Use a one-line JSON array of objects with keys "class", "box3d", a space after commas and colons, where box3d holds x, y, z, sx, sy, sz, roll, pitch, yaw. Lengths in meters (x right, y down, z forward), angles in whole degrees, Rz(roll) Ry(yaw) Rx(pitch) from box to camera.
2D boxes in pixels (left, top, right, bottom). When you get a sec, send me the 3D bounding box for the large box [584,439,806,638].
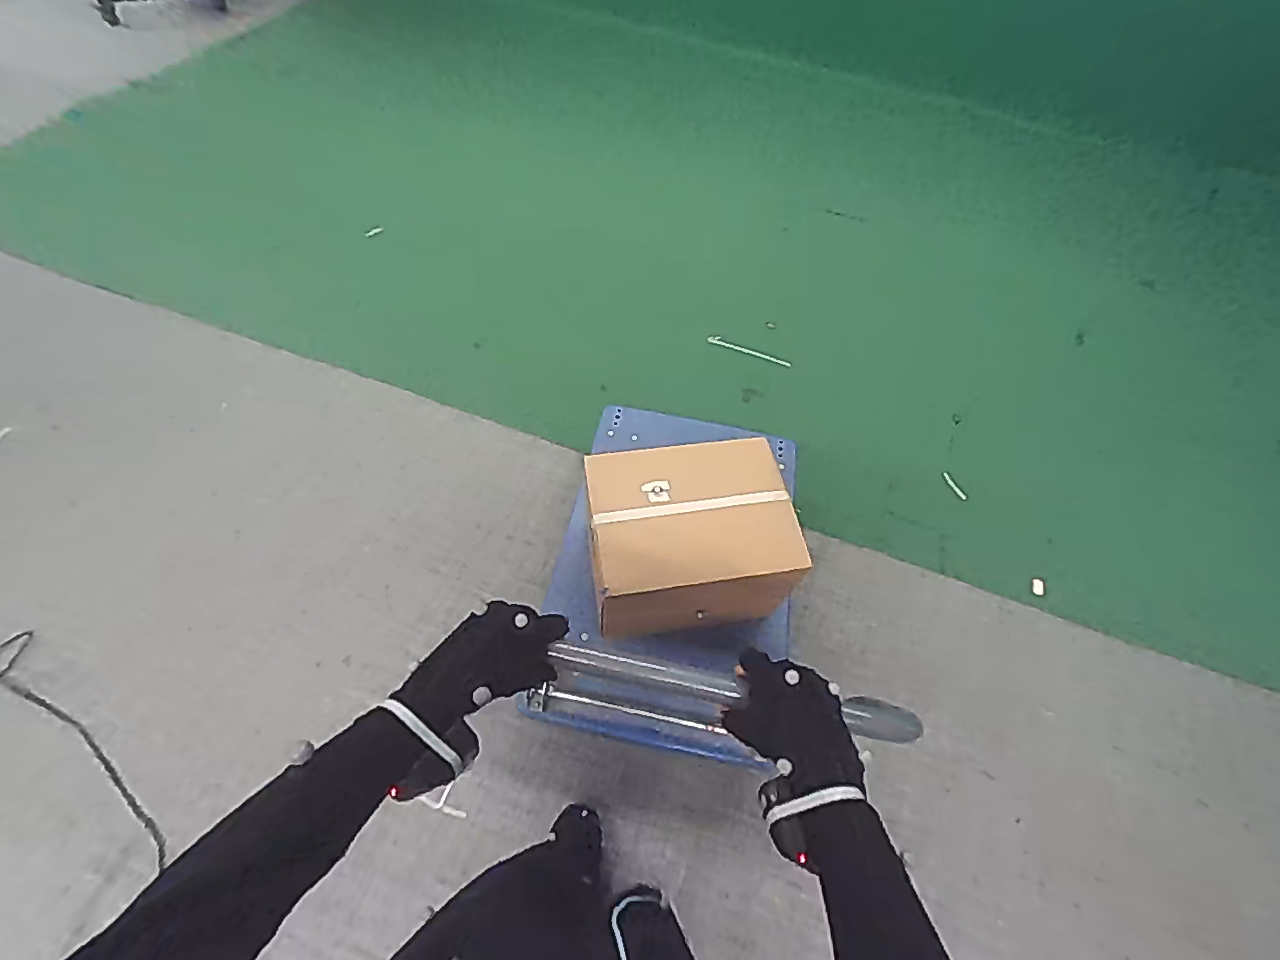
[{"class": "large box", "box3d": [0.096, 0.139, 1.214, 0.408, 0.320, 0.320, -7, 59, -8]}]
